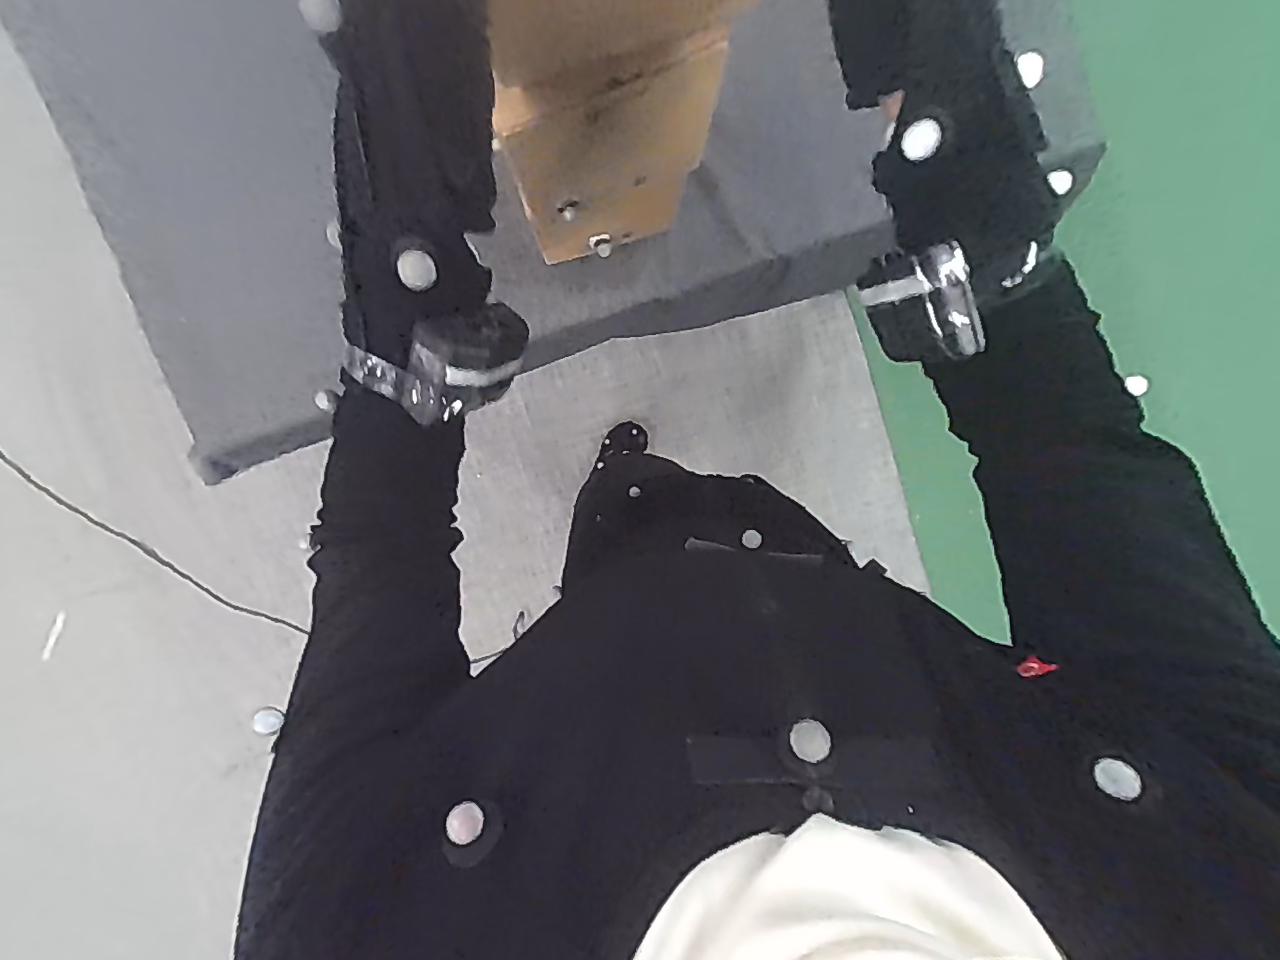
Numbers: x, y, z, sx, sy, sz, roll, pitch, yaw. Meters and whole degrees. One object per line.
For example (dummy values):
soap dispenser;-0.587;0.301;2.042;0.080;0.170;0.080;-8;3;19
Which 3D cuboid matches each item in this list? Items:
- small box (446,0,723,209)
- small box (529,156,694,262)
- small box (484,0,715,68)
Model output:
small box;-0.049;-0.345;0.429;0.168;0.176;0.179;-22;93;1
small box;-0.052;-0.370;0.592;0.168;0.176;0.179;-18;96;1
small box;-0.025;-0.339;0.243;0.179;0.176;0.168;-21;99;3
